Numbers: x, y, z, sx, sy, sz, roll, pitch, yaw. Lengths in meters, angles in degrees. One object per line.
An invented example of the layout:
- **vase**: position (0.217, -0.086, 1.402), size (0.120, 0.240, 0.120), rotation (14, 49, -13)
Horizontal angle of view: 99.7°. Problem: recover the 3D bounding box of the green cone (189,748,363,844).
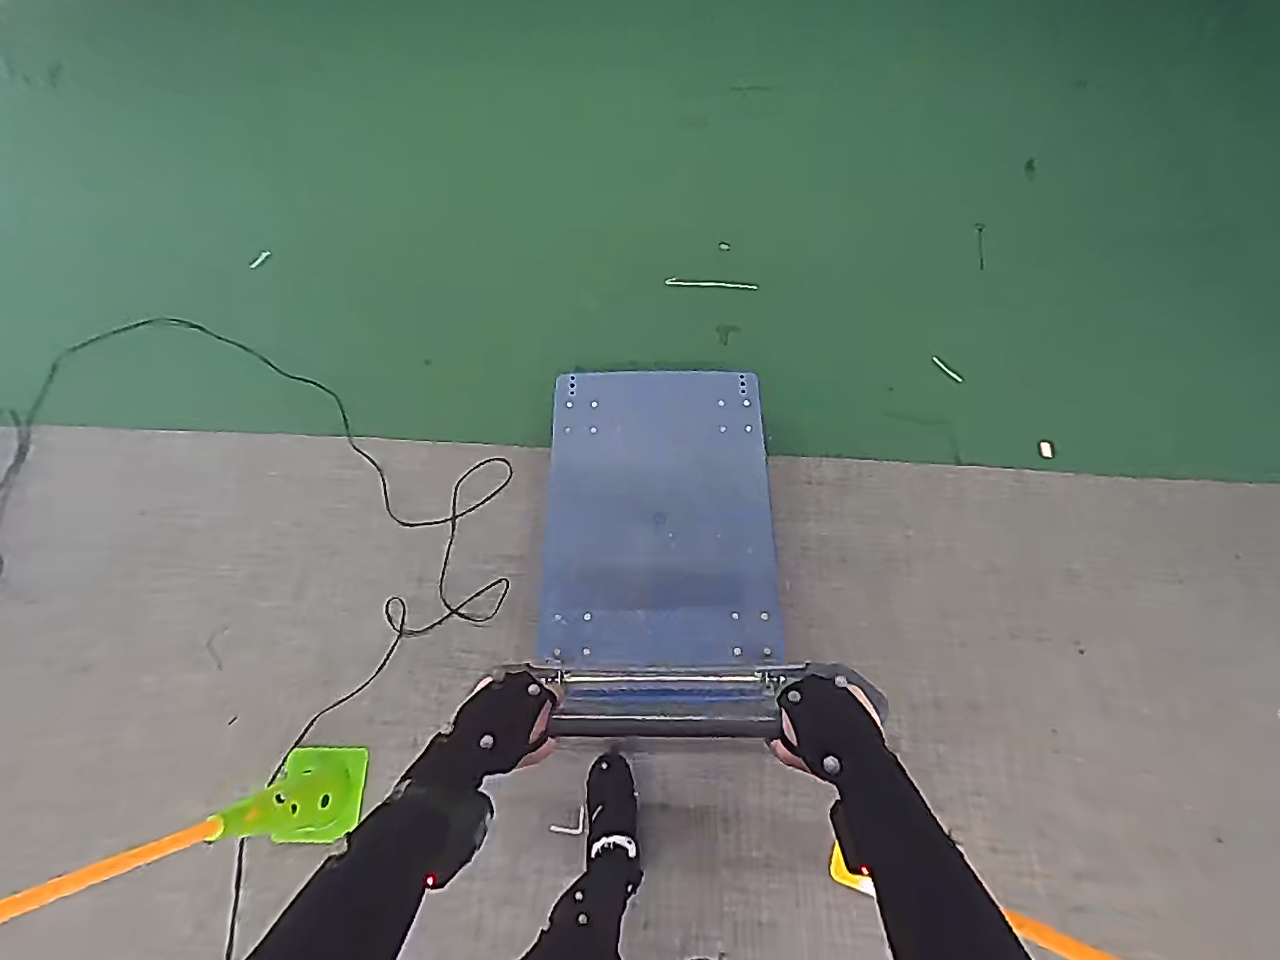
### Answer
- **green cone**: position (-0.778, 0.689, 1.134), size (0.202, 0.368, 0.200), rotation (-1, 68, 2)
